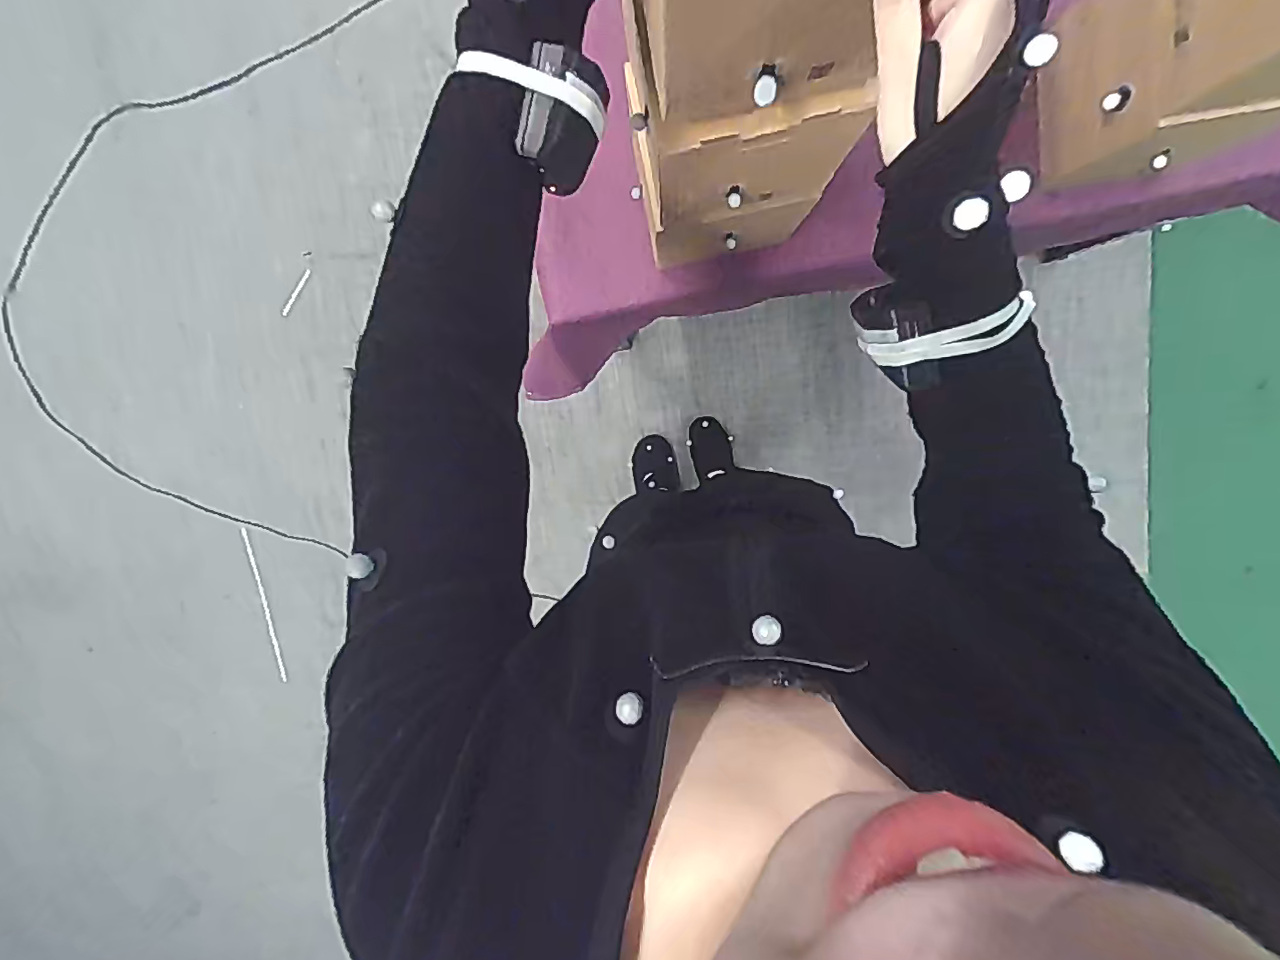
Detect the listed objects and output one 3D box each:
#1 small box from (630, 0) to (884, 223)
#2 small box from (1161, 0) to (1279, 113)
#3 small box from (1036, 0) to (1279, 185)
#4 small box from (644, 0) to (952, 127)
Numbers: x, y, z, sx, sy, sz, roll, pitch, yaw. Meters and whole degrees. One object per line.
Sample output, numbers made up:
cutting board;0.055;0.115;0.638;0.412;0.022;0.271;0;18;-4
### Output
small box;0.084;-0.348;0.461;0.168;0.176;0.179;-10;99;4
small box;0.574;-0.426;0.430;0.179;0.176;0.168;-7;99;2
small box;0.573;-0.447;0.593;0.168;0.176;0.179;-8;98;3
small box;0.079;-0.332;0.287;0.168;0.176;0.179;-10;99;4
